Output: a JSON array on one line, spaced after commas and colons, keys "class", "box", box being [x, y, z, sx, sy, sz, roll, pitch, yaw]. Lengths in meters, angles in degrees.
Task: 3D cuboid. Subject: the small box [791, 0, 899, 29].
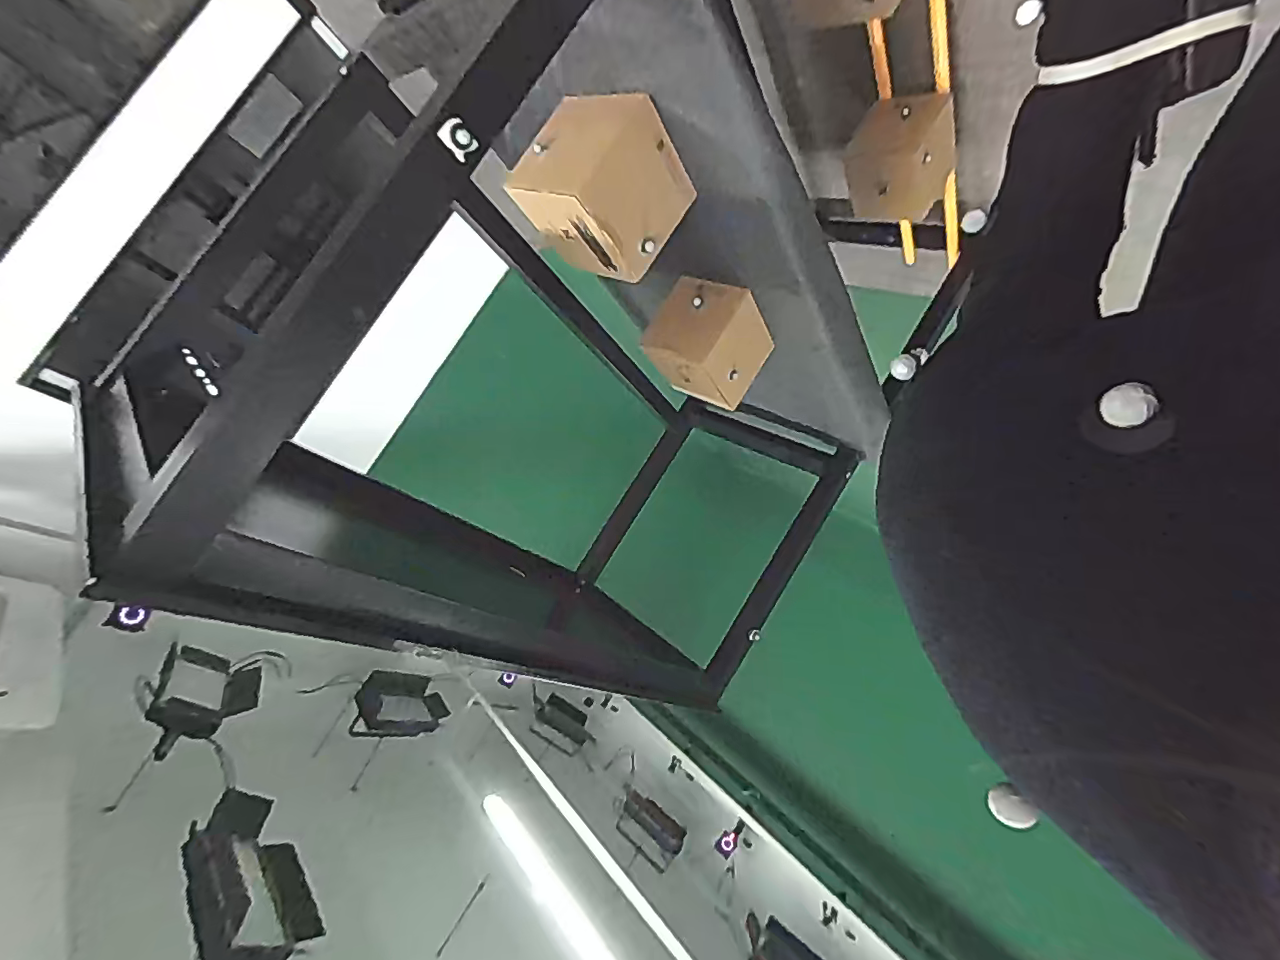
[{"class": "small box", "box": [0.355, -0.893, 0.883, 0.179, 0.176, 0.168, 28, 173, 37]}]

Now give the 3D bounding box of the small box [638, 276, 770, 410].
[{"class": "small box", "box": [0.134, -0.271, 1.072, 0.168, 0.176, 0.179, 28, 173, 37]}]
